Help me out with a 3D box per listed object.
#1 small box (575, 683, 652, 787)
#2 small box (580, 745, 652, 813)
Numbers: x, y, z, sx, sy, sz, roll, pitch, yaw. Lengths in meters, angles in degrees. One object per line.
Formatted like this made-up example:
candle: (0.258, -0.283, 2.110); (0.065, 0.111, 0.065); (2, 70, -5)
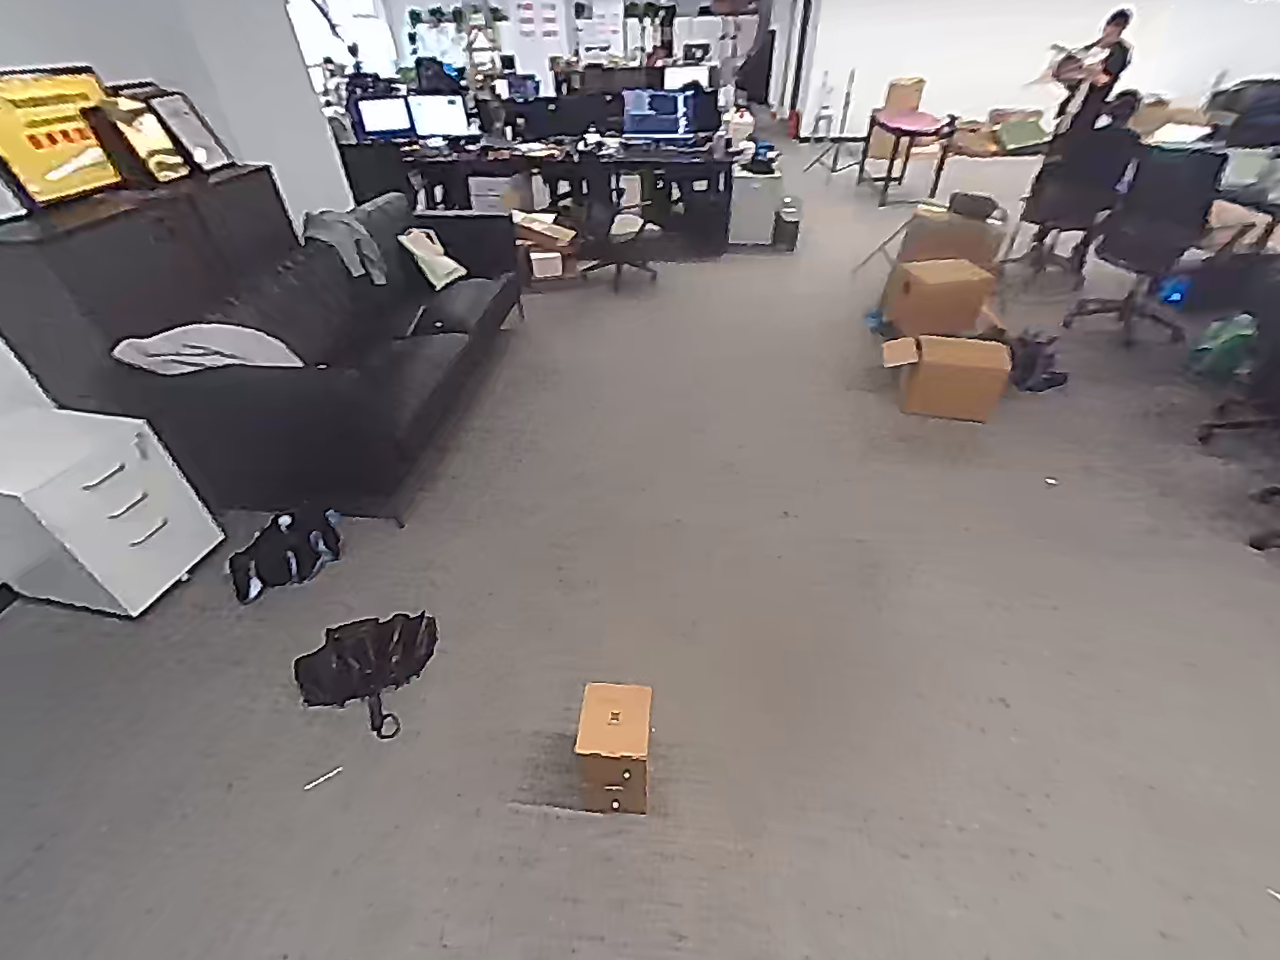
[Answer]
small box: (-0.058, 0.621, 1.314); (0.168, 0.176, 0.179); (3, 38, 3)
small box: (-0.056, 0.748, 1.416); (0.168, 0.176, 0.179); (2, 40, 3)
